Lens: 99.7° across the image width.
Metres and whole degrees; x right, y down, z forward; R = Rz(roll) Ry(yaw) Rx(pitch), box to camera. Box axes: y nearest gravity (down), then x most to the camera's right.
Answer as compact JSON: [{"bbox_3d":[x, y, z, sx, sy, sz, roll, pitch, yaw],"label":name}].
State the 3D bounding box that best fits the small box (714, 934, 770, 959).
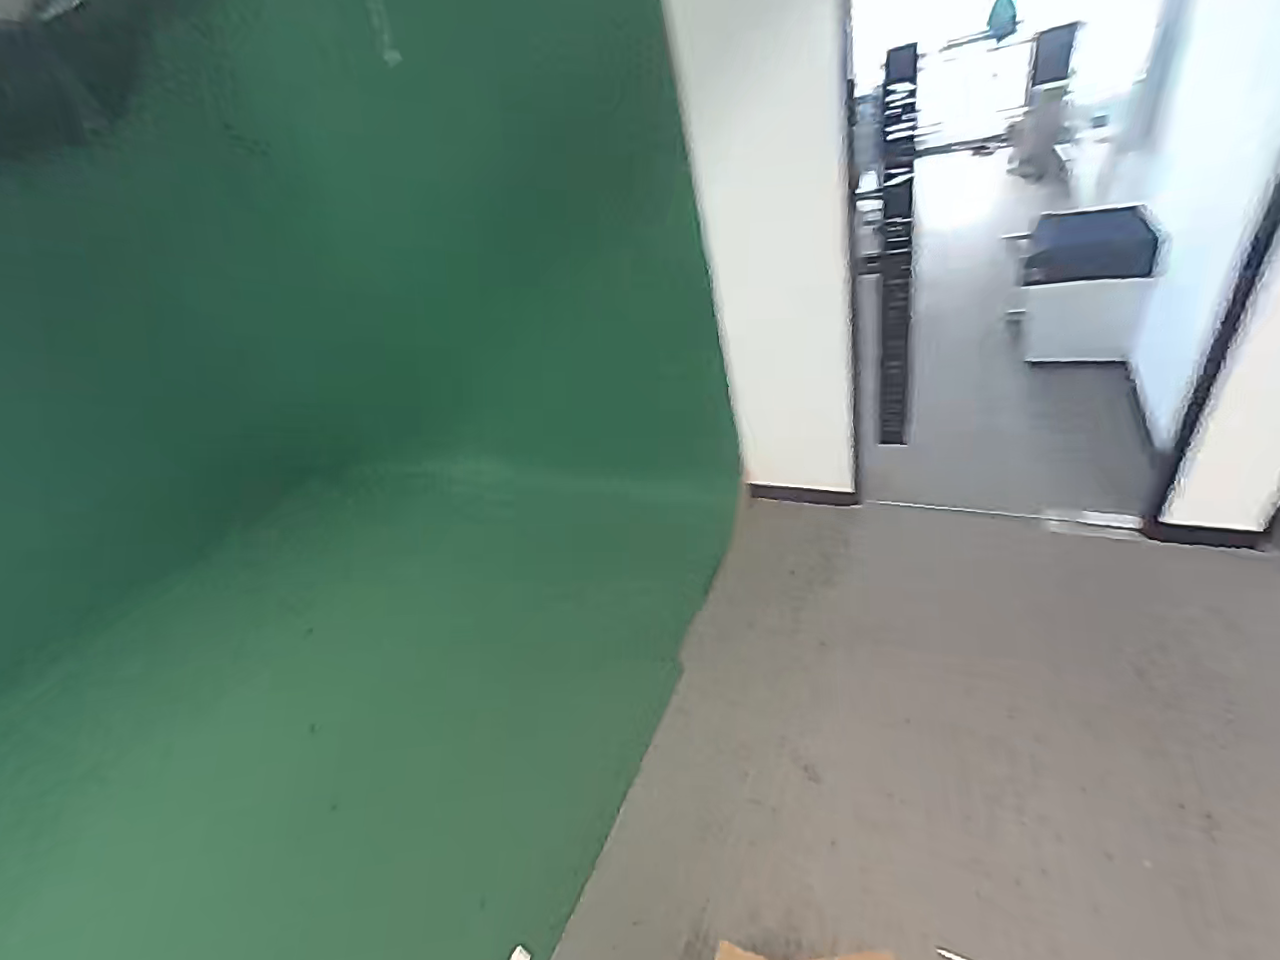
[{"bbox_3d":[0.229,1.102,1.117,0.168,0.176,0.179,6,42,29],"label":"small box"}]
